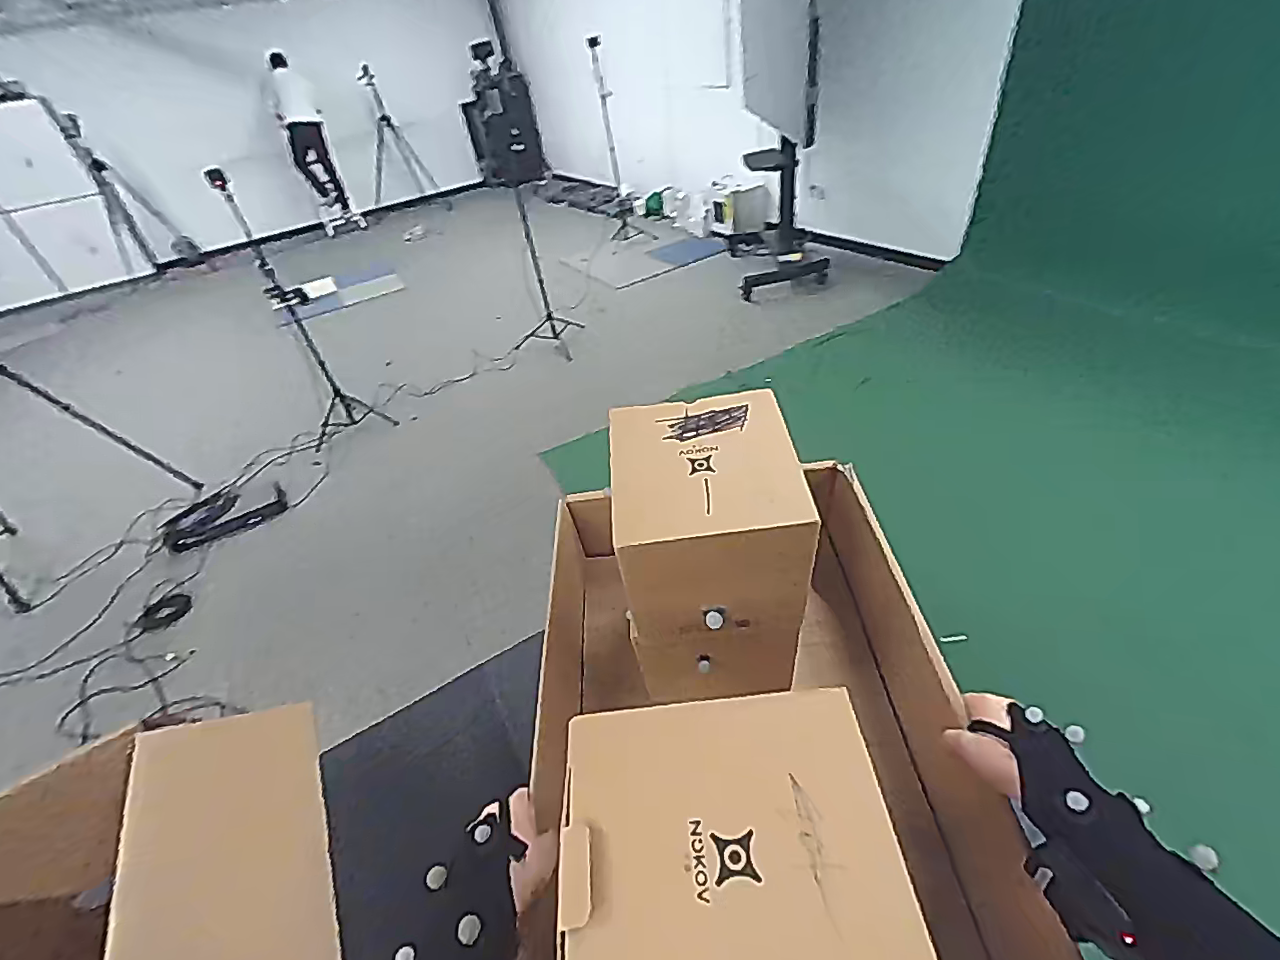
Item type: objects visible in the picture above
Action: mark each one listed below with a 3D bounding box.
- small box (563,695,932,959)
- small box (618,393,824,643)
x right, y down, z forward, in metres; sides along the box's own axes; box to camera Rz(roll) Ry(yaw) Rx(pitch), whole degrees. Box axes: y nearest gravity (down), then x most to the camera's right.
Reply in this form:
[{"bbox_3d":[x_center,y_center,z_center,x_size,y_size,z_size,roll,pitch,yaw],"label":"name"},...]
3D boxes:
[{"bbox_3d":[0.057,0.255,0.338,0.179,0.176,0.168,-7,46,3],"label":"small box"},{"bbox_3d":[0.070,0.040,0.539,0.168,0.176,0.179,-7,47,4],"label":"small box"}]
